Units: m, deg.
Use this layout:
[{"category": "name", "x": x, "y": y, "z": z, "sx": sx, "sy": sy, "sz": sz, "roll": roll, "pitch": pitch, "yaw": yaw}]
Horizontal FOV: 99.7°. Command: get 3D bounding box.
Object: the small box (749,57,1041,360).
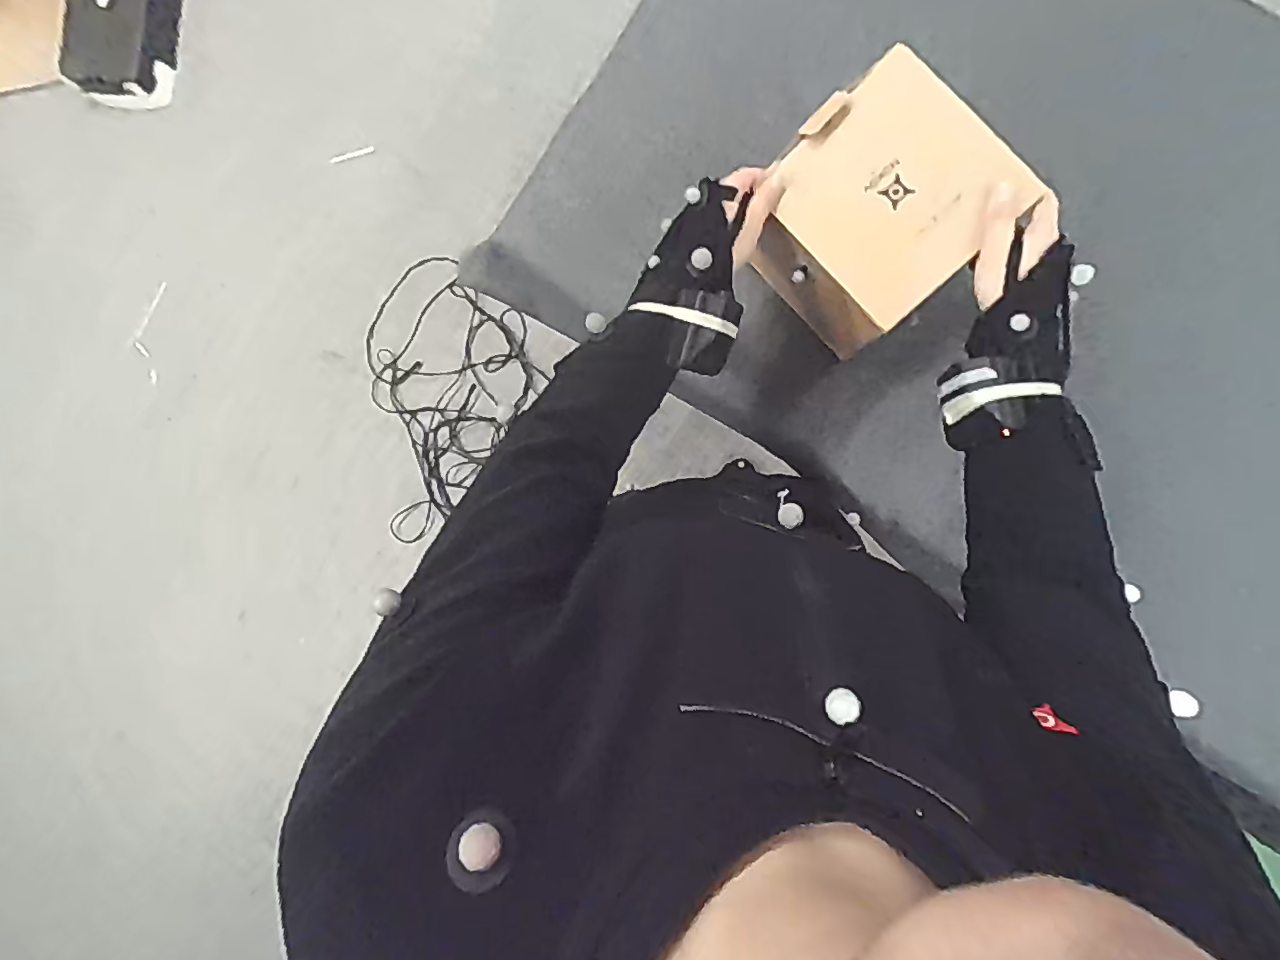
[{"category": "small box", "x": 0.223, "y": -0.241, "z": 0.534, "sx": 0.168, "sy": 0.176, "sz": 0.179, "roll": -43, "pitch": 87, "yaw": 9}]
